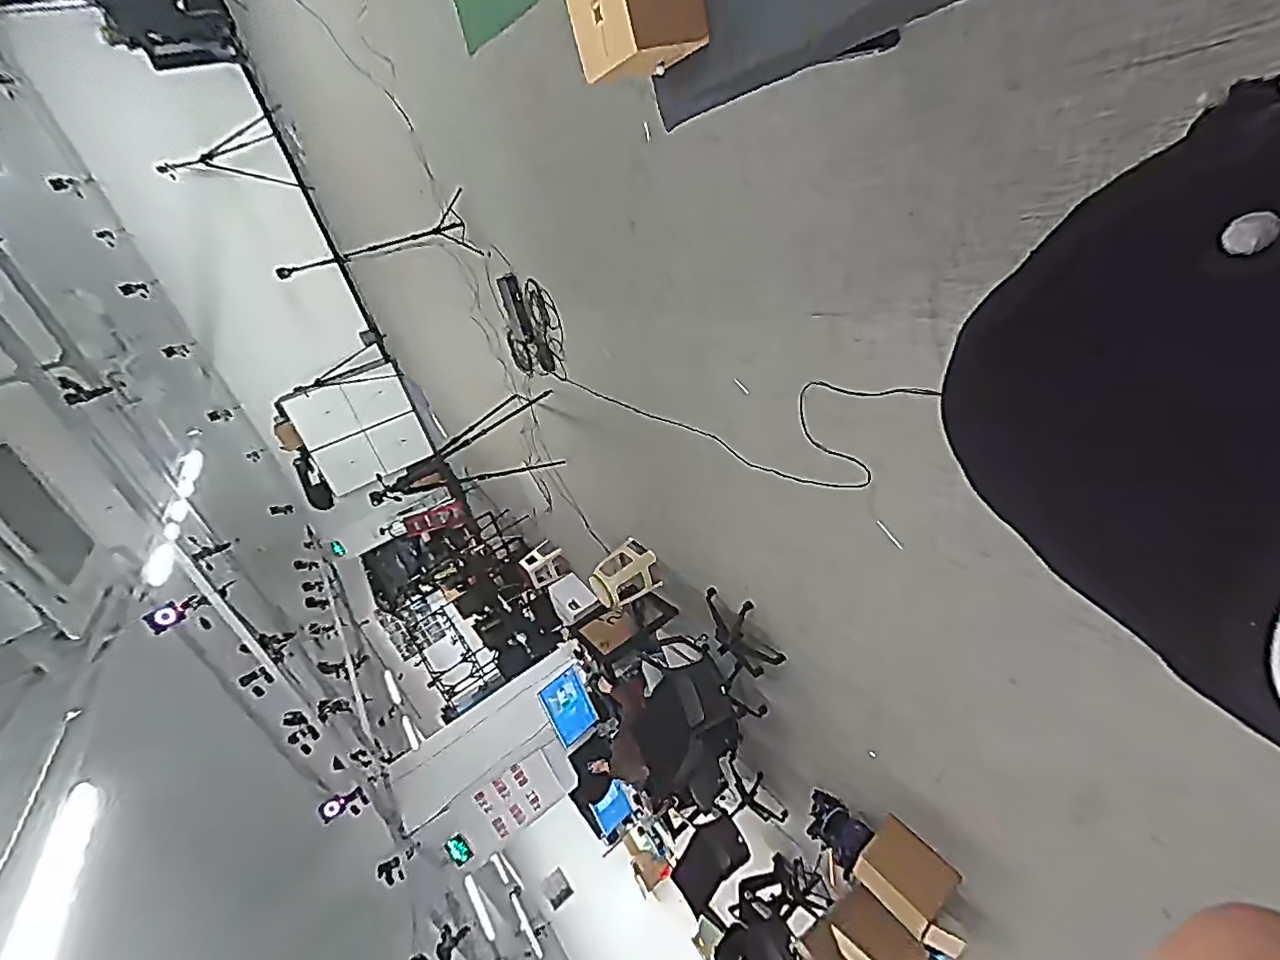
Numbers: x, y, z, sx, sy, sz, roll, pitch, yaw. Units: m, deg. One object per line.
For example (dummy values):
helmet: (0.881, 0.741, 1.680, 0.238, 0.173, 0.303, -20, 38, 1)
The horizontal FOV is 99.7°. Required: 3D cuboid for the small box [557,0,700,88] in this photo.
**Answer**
small box: (-0.021, -0.810, 0.930, 0.168, 0.176, 0.179, 22, 136, 52)
